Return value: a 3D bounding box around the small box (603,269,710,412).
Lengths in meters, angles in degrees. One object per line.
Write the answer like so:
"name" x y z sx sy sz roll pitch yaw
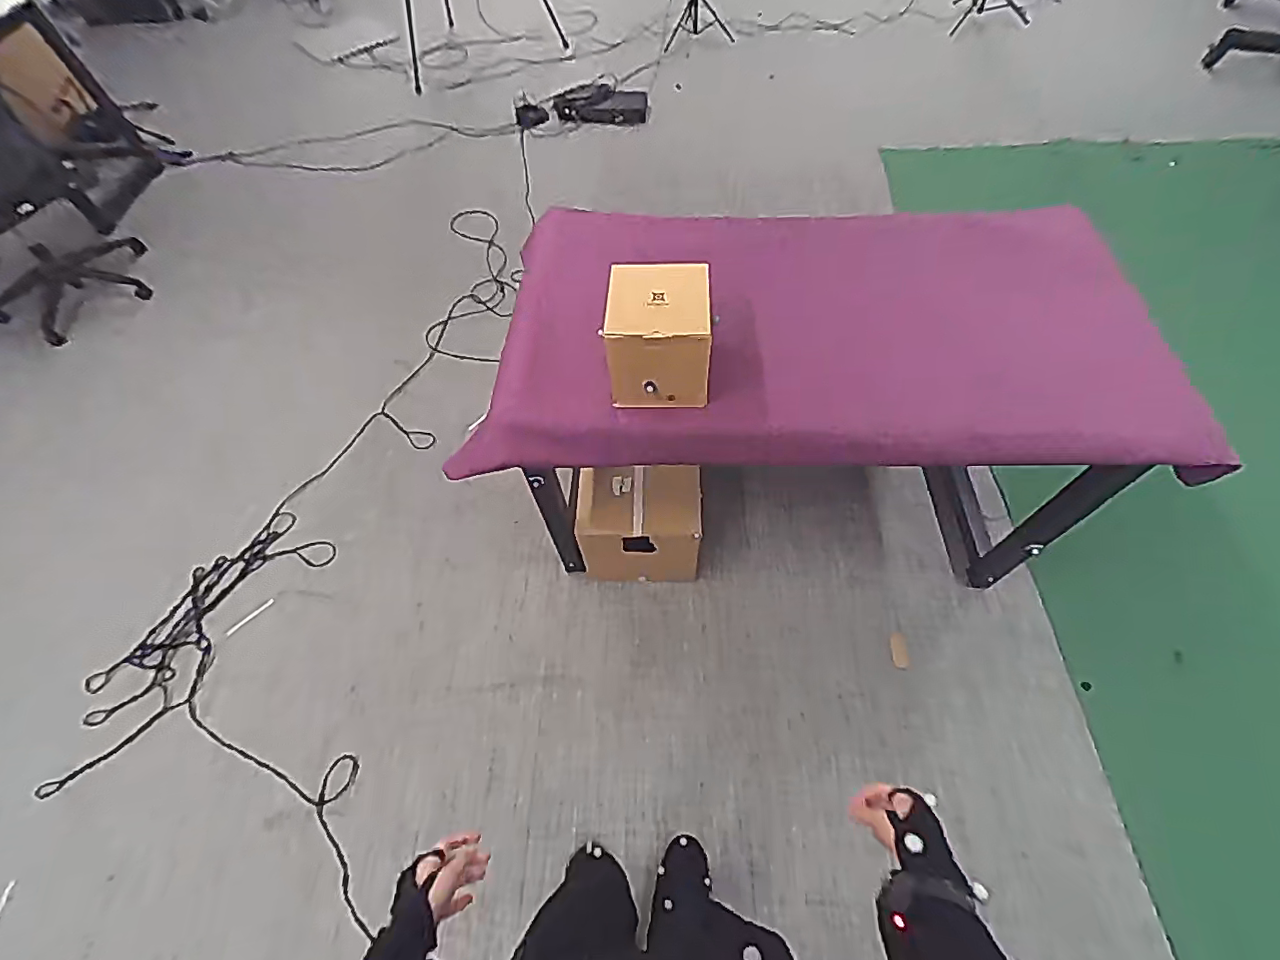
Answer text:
"small box" 0.032 -0.238 0.929 0.168 0.176 0.179 1 57 4

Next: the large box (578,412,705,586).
"large box" 0.011 0.057 1.528 0.320 0.320 0.408 -1 59 4
